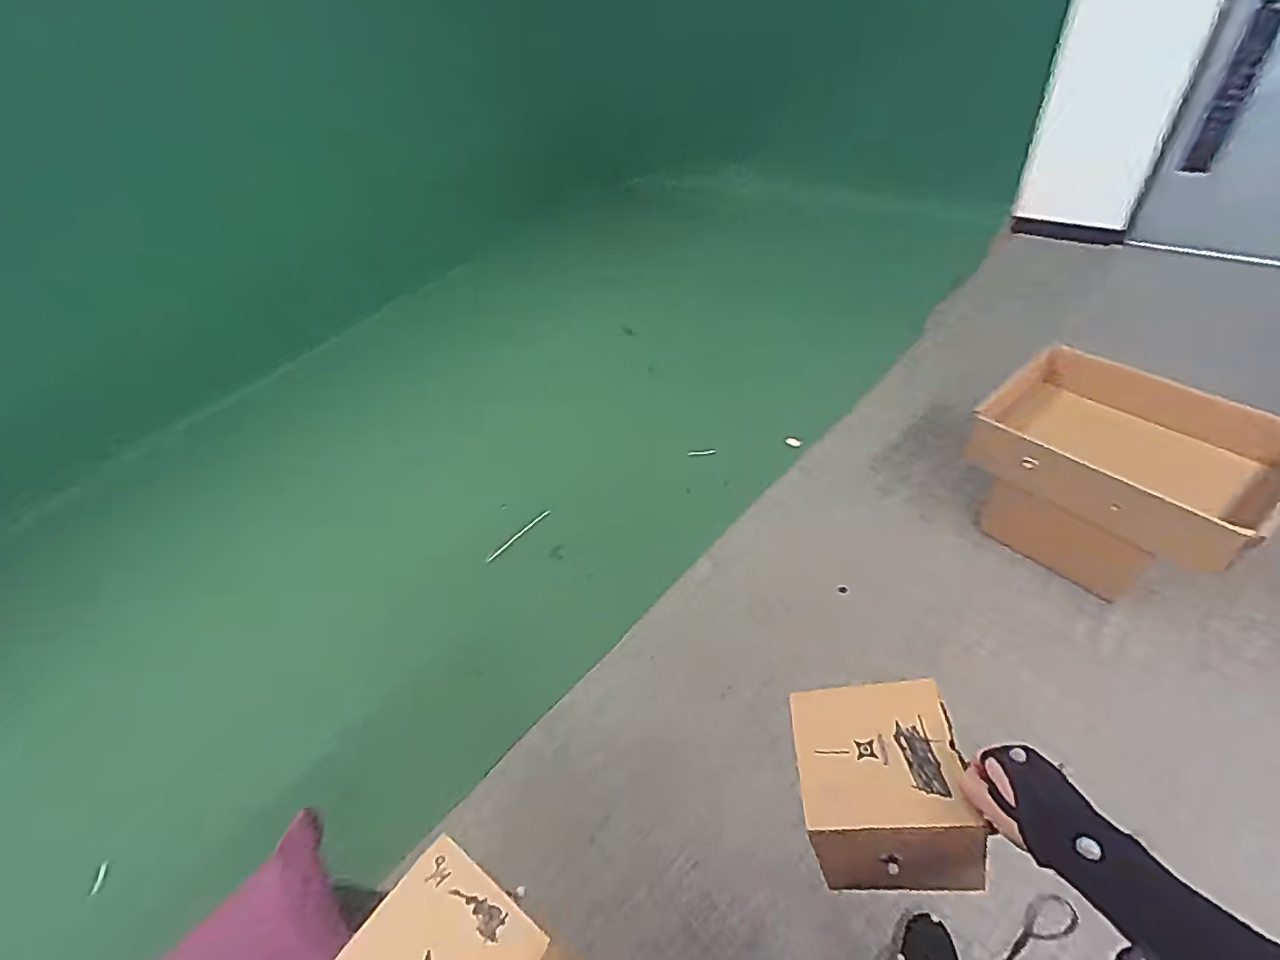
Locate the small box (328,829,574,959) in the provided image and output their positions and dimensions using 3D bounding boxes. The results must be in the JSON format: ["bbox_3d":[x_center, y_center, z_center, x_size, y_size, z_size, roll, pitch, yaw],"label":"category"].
[{"bbox_3d":[-0.168,0.481,0.493,0.168,0.176,0.179,14,44,38],"label":"small box"}]

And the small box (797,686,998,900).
[{"bbox_3d":[0.295,0.370,0.643,0.179,0.176,0.168,-12,33,17],"label":"small box"}]
